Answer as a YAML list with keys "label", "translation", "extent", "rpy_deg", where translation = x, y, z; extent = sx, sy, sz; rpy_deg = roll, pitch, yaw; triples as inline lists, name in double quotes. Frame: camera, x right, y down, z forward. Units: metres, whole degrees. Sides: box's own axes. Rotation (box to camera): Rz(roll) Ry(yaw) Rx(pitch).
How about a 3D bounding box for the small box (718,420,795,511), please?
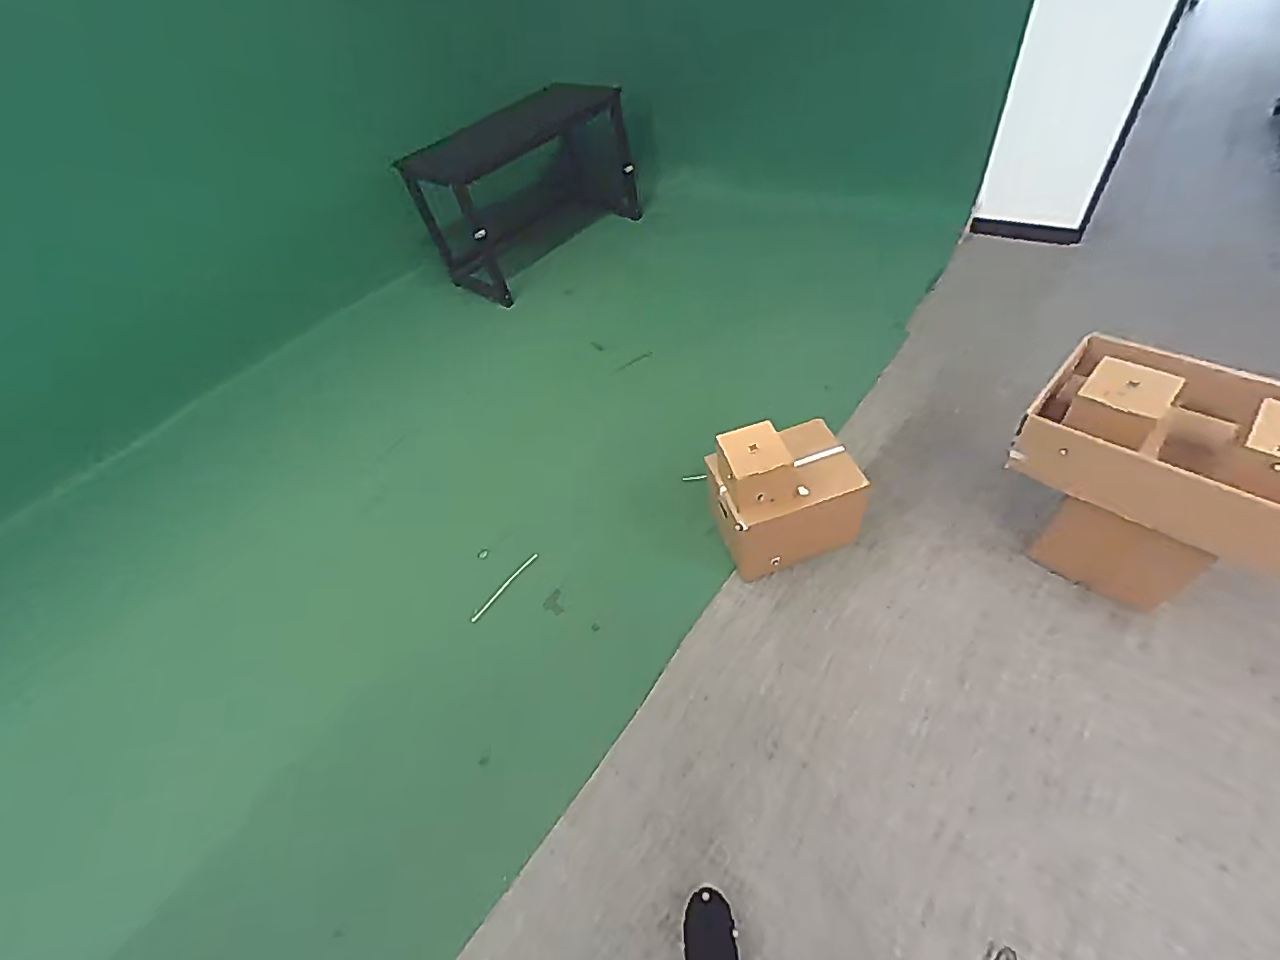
- label: "small box"
  translation: [0.328, -0.040, 1.562]
  extent: [0.168, 0.176, 0.179]
  rpy_deg: [-17, 51, -3]
